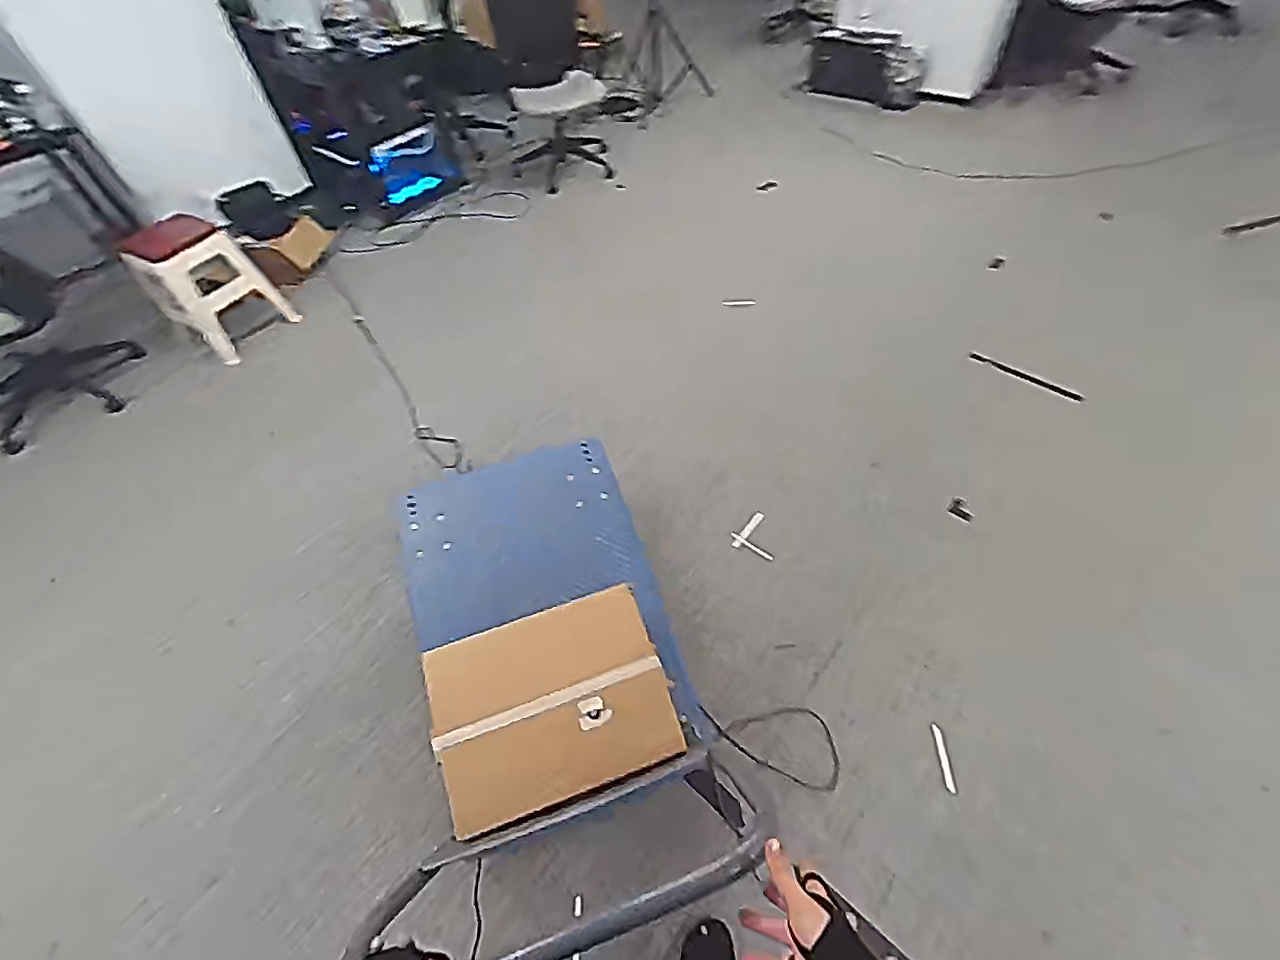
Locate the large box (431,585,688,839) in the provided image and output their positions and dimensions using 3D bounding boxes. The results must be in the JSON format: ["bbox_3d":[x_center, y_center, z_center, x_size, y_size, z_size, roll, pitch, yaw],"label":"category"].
[{"bbox_3d":[-0.155,0.460,1.104,0.408,0.320,0.320,-17,68,-10],"label":"large box"}]
